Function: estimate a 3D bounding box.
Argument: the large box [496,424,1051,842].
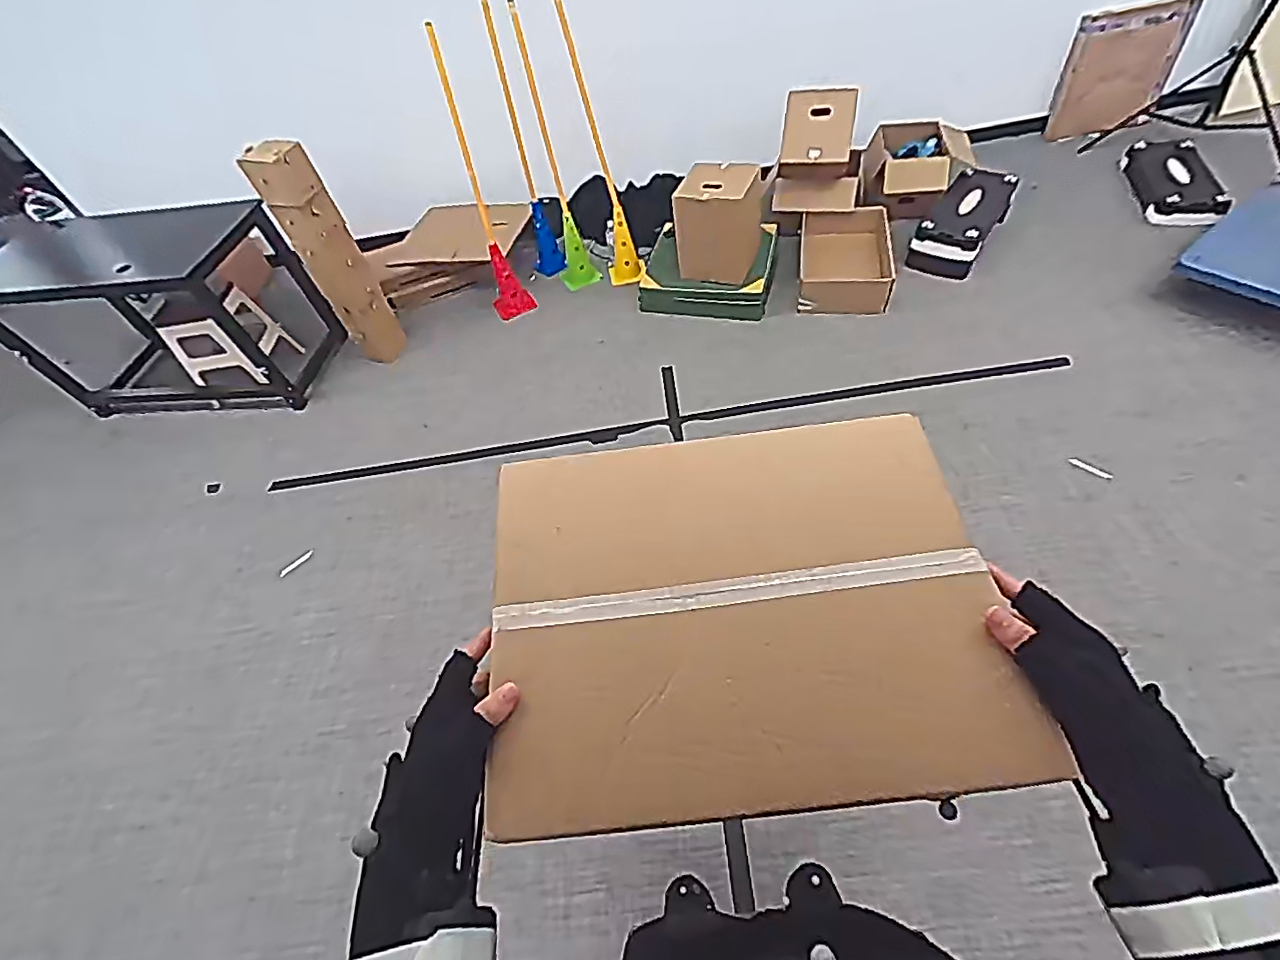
[{"bbox_3d":[0.091,0.174,0.582,0.408,0.320,0.320,-7,58,1],"label":"large box"}]

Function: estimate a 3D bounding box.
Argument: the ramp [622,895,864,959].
[{"bbox_3d":[0.253,1.346,0.925,0.509,0.206,0.991,-8,53,1],"label":"ramp"}]
